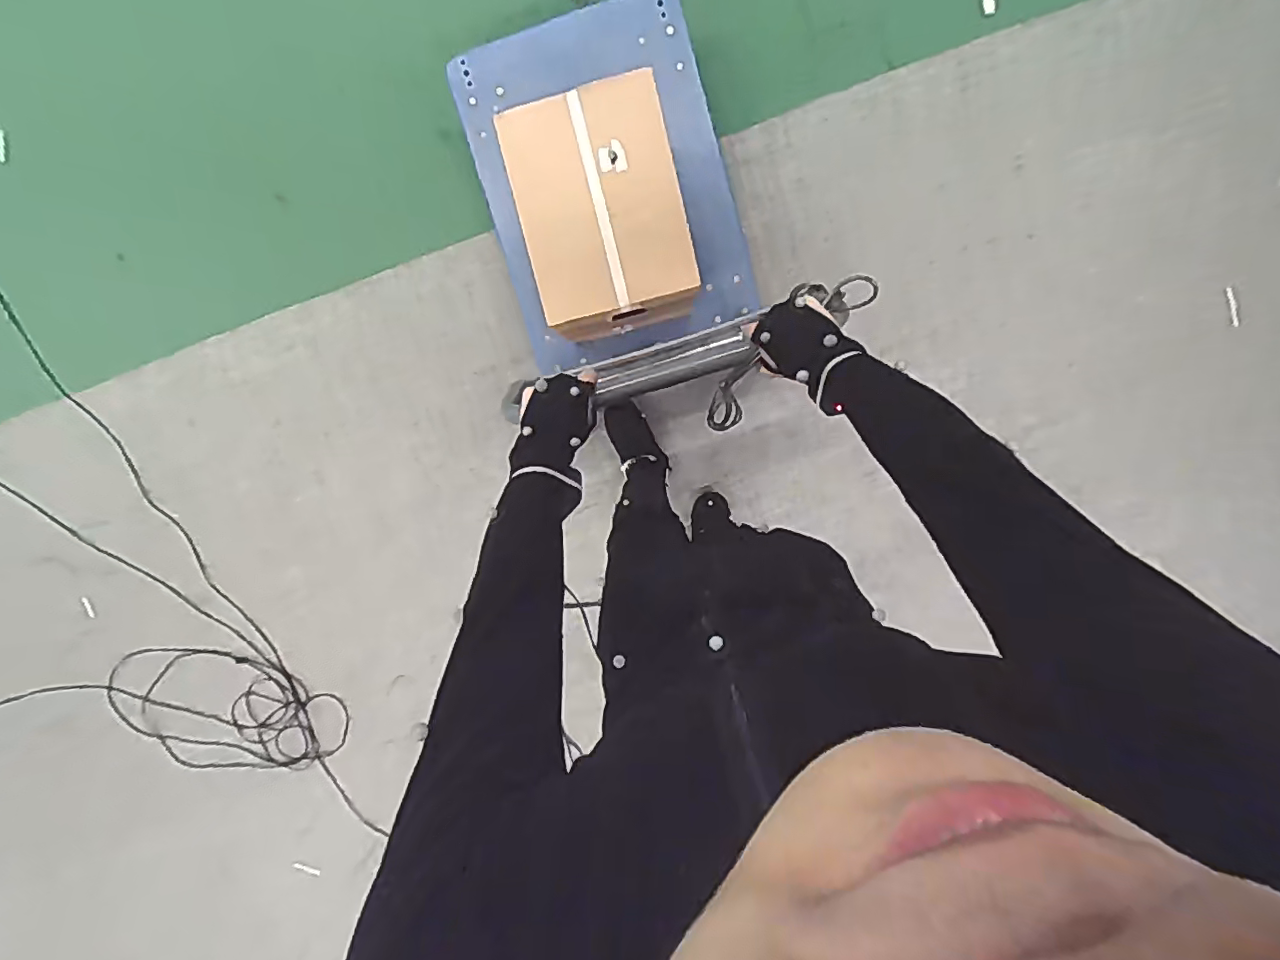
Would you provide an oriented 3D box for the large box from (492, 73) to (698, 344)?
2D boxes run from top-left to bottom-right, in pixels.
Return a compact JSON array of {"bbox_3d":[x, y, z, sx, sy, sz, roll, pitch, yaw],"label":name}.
[{"bbox_3d":[-0.077,-0.547,1.182,0.320,0.320,0.408,-14,97,4],"label":"large box"}]
